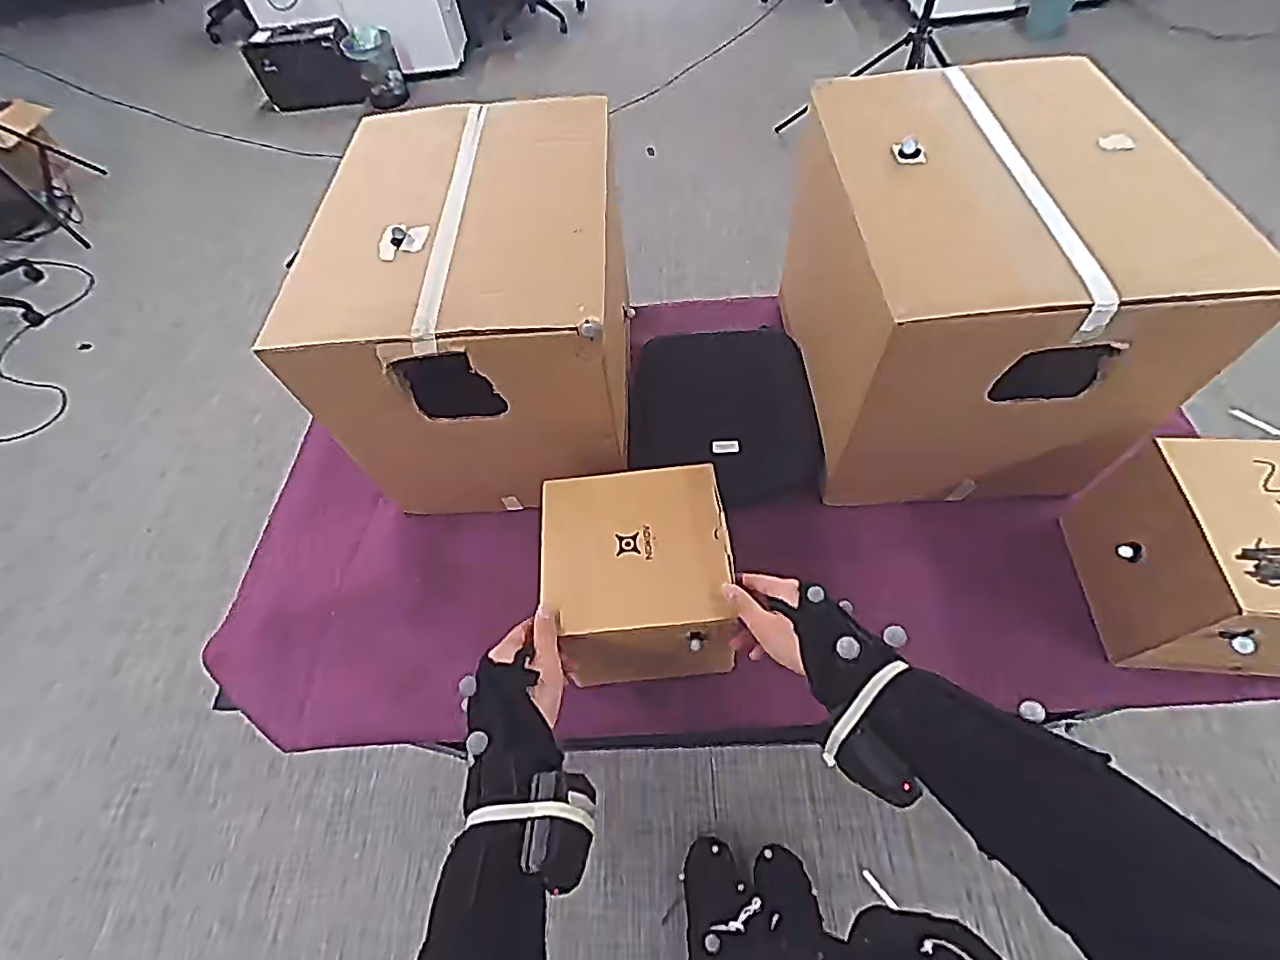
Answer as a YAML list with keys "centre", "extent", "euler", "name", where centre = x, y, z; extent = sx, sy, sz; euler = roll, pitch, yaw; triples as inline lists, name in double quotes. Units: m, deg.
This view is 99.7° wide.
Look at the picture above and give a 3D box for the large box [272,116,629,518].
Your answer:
- centre: [-0.183, -0.199, 0.708]
  extent: [0.320, 0.320, 0.408]
  euler: [-4, 60, 3]
  name: "large box"
